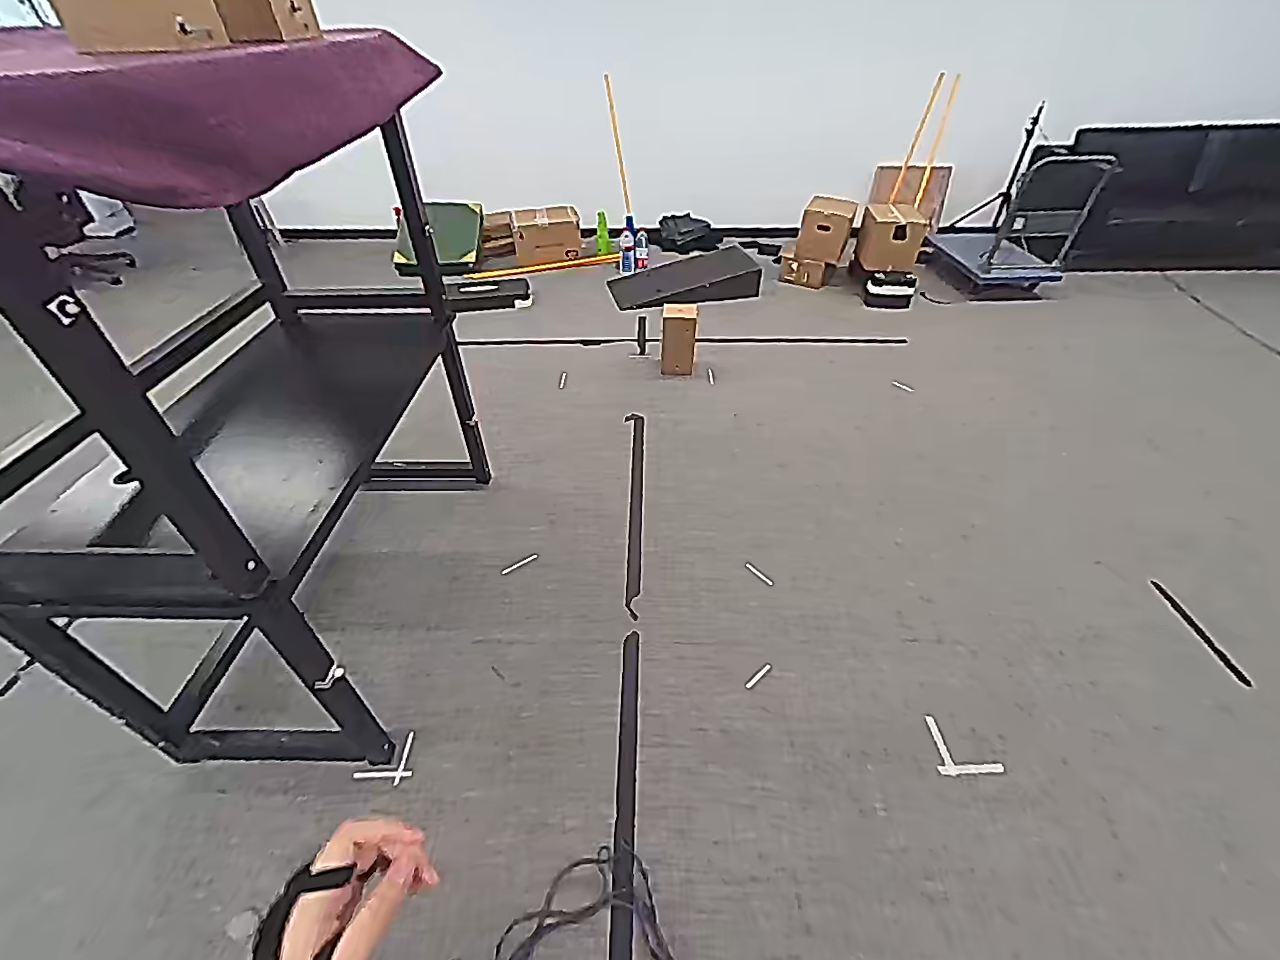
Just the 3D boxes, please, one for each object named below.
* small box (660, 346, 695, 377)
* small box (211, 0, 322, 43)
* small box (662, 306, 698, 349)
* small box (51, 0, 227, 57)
[{"bbox_3d":[0.203,-0.679,2.957,0.179,0.176,0.168,2,41,0],"label":"small box"},{"bbox_3d":[-0.831,-1.046,1.157,0.179,0.176,0.168,3,42,4],"label":"small box"},{"bbox_3d":[0.210,-0.801,2.848,0.179,0.176,0.168,3,41,4],"label":"small box"},{"bbox_3d":[-0.853,-0.827,0.908,0.179,0.176,0.168,-4,41,-2],"label":"small box"}]
